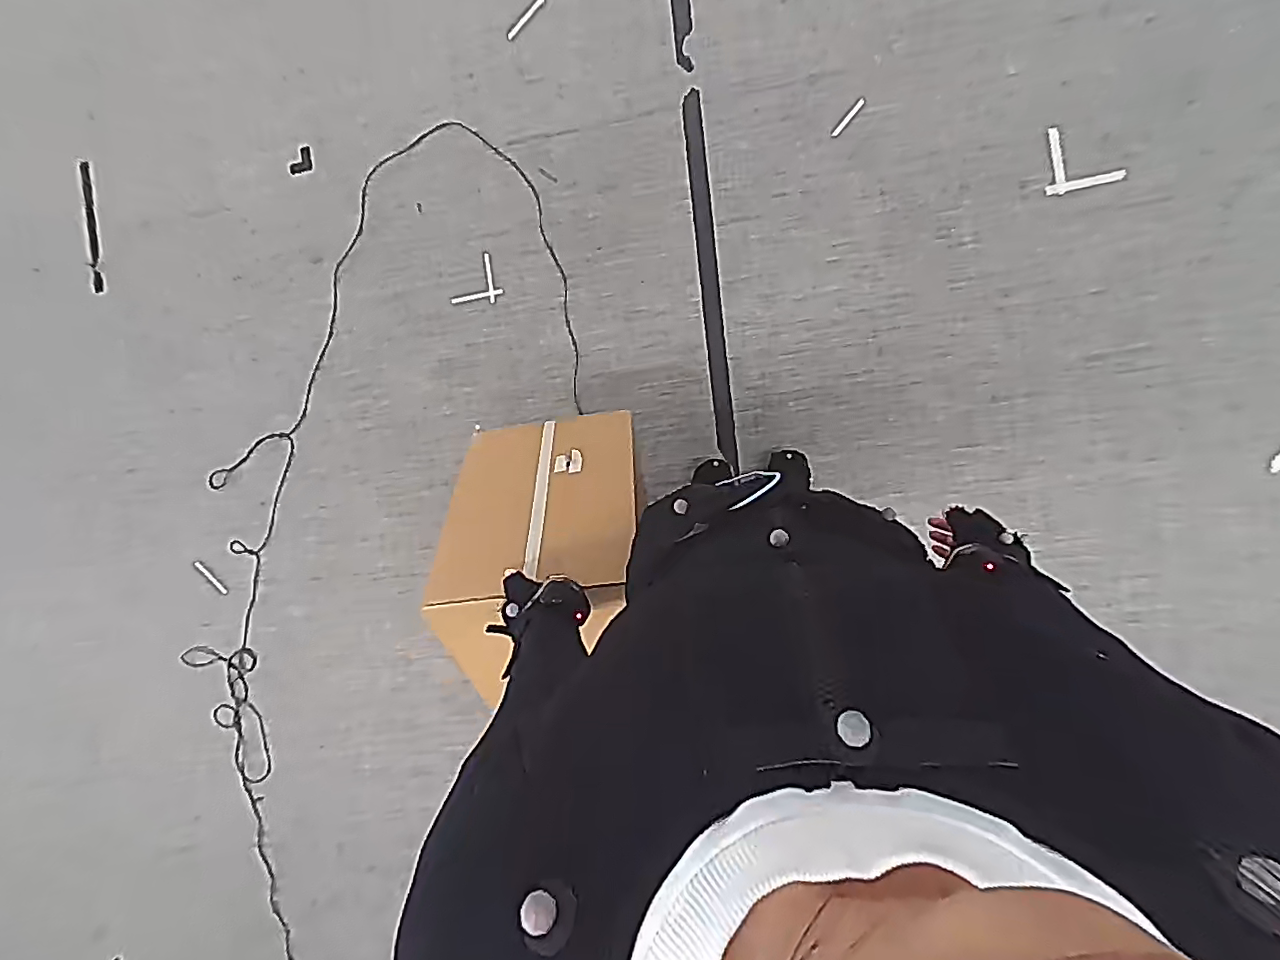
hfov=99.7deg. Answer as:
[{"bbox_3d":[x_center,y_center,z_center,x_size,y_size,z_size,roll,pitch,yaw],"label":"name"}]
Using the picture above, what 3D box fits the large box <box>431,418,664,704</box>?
[{"bbox_3d":[-0.138,0.140,0.998,0.320,0.408,0.320,-6,131,3],"label":"large box"}]
